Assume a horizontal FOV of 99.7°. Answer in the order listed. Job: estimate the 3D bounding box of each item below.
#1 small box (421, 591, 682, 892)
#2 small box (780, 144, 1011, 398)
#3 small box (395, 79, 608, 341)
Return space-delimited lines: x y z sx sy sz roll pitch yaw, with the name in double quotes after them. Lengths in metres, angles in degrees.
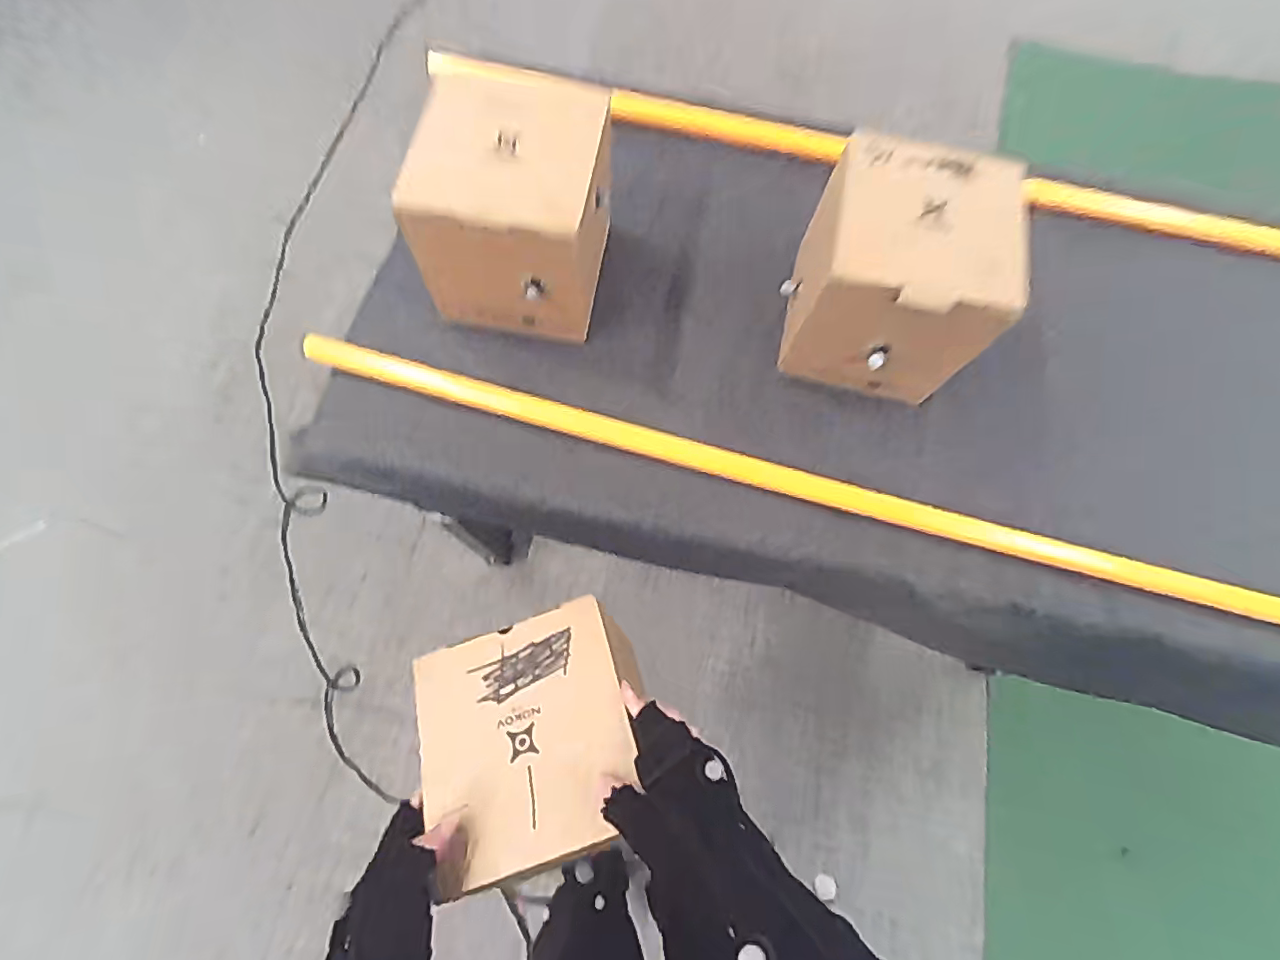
-0.072 0.229 0.476 0.168 0.176 0.179 -20 55 0 "small box"
0.252 -0.206 0.568 0.168 0.176 0.179 10 70 3 "small box"
-0.128 -0.272 0.574 0.168 0.176 0.179 9 69 -1 "small box"
